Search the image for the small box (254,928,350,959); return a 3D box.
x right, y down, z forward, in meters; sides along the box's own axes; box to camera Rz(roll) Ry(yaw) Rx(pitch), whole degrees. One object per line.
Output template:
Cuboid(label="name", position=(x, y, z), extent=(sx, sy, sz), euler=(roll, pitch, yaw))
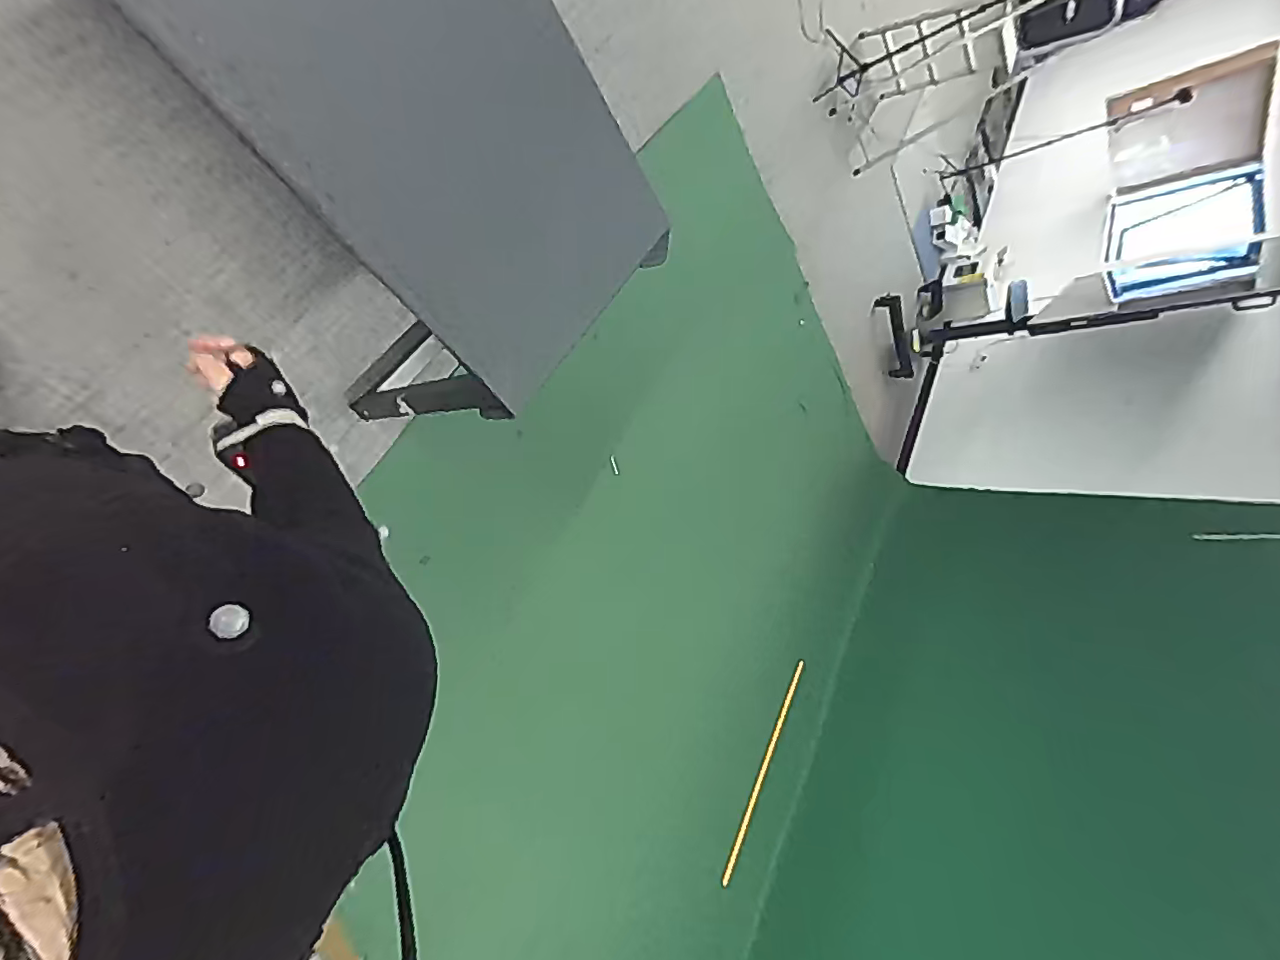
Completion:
Cuboid(label="small box", position=(-0.757, 1.129, 1.184), extent=(0.179, 0.176, 0.168), euler=(50, 60, -36))
